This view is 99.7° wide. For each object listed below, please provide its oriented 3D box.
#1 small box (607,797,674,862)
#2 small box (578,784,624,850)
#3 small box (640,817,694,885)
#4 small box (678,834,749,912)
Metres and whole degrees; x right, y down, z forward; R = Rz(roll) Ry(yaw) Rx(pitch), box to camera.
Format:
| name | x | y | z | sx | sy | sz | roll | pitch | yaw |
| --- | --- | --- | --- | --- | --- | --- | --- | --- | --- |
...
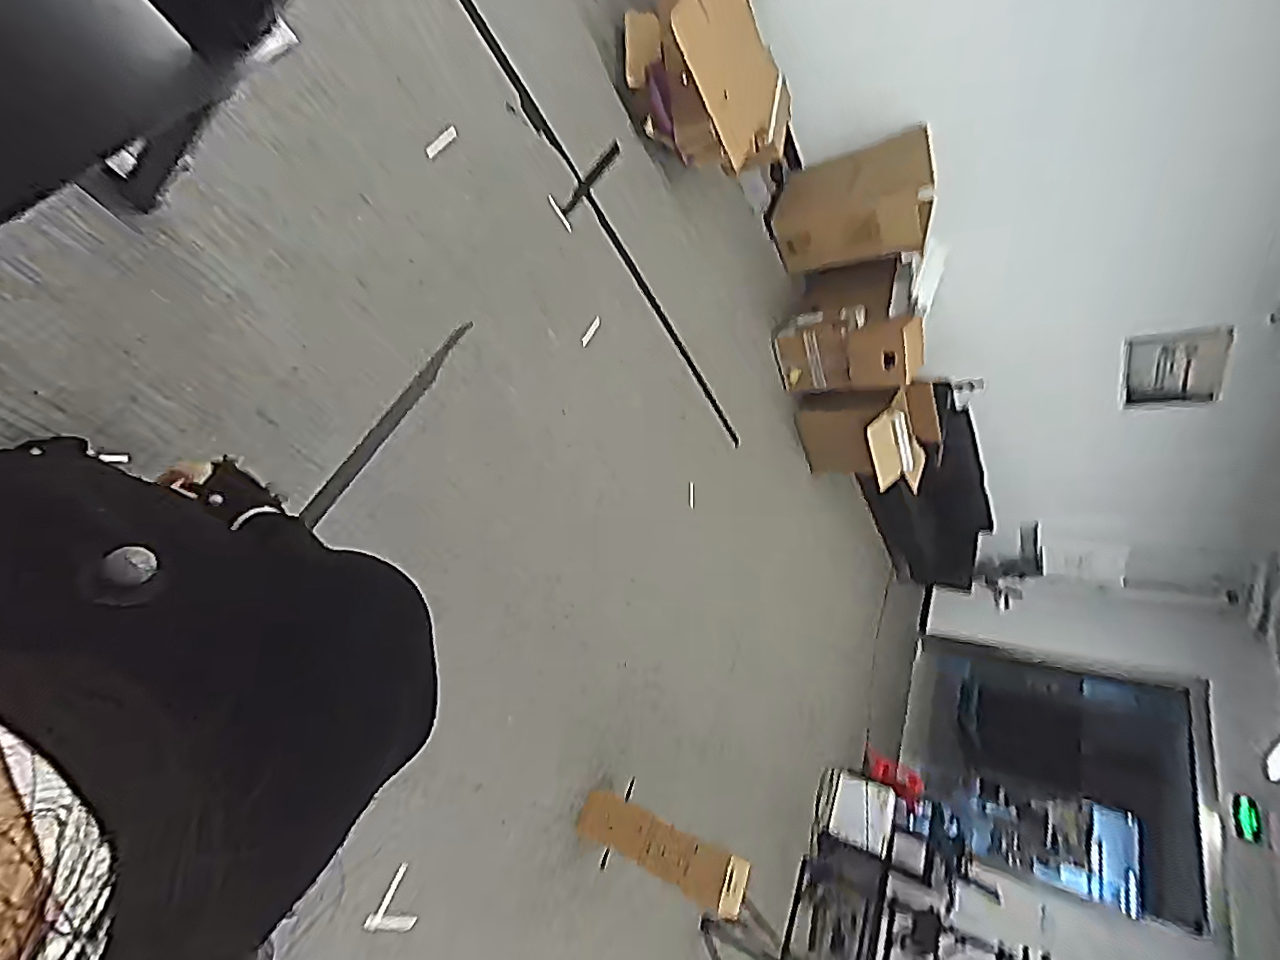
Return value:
| name | x | y | z | sx | sy | sz | roll | pitch | yaw |
| --- | --- | --- | --- | --- | --- | --- | --- | --- | --- |
| small box | 0.000 | 1.373 | 2.110 | 0.168 | 0.176 | 0.179 | 52 | 52 | -37 |
| small box | -0.130 | 1.380 | 2.211 | 0.168 | 0.176 | 0.179 | 50 | 53 | -39 |
| small box | 0.125 | 1.382 | 2.006 | 0.179 | 0.176 | 0.168 | 51 | 53 | -37 |
| small box | 0.257 | 1.381 | 1.906 | 0.179 | 0.176 | 0.168 | 51 | 52 | -39 |
